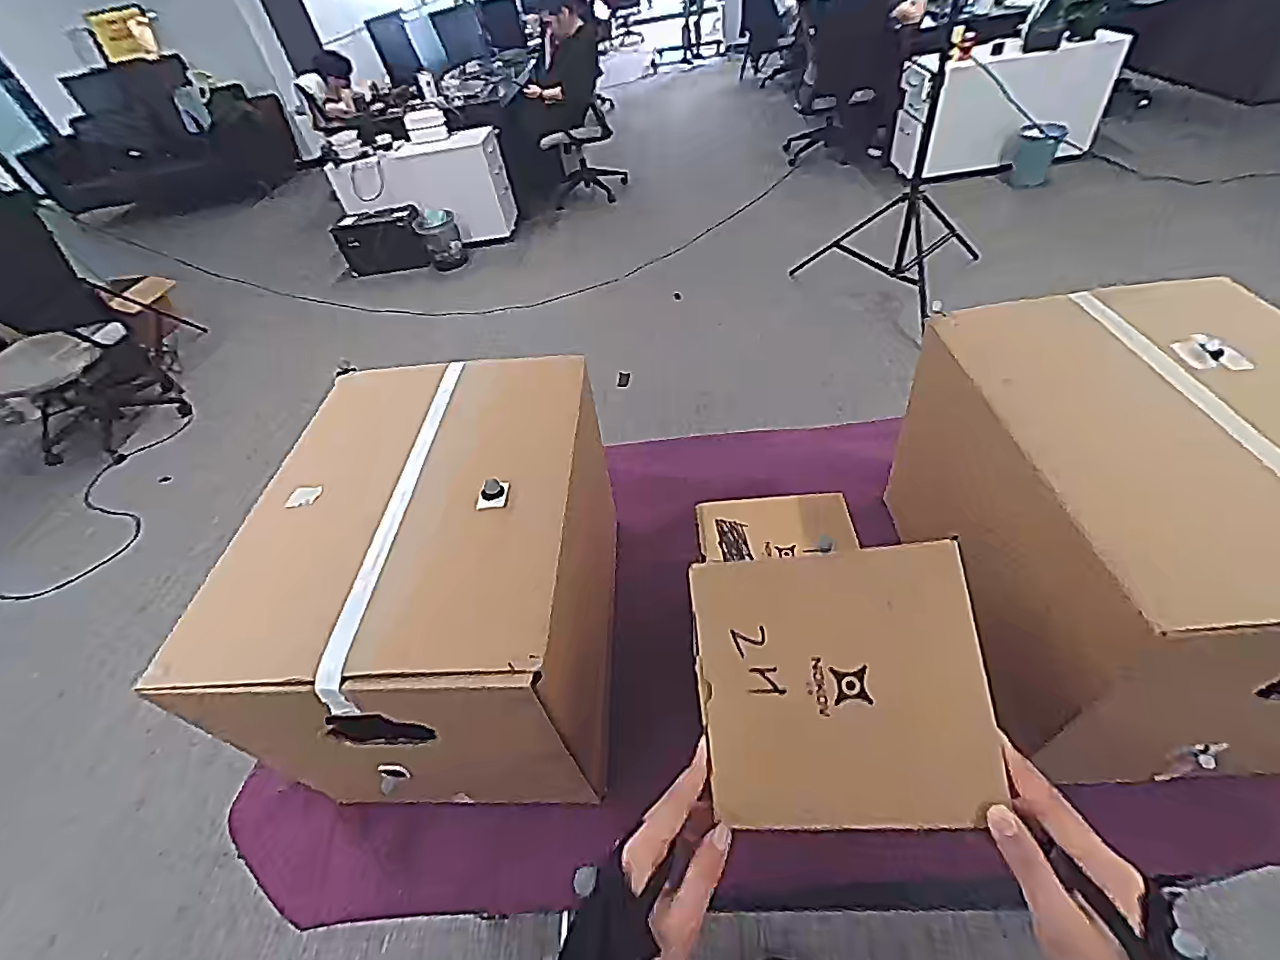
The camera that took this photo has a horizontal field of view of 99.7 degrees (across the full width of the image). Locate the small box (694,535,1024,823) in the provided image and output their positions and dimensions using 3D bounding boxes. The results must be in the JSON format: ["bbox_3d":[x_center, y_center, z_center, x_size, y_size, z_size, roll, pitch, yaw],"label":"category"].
[{"bbox_3d":[0.143,0.136,0.412,0.179,0.176,0.168,-7,77,12],"label":"small box"}]

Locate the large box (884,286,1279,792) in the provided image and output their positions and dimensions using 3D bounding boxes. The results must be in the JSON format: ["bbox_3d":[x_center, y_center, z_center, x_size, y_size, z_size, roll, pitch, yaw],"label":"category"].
[{"bbox_3d":[0.493,0.051,0.558,0.320,0.320,0.408,-5,44,5],"label":"large box"}]
